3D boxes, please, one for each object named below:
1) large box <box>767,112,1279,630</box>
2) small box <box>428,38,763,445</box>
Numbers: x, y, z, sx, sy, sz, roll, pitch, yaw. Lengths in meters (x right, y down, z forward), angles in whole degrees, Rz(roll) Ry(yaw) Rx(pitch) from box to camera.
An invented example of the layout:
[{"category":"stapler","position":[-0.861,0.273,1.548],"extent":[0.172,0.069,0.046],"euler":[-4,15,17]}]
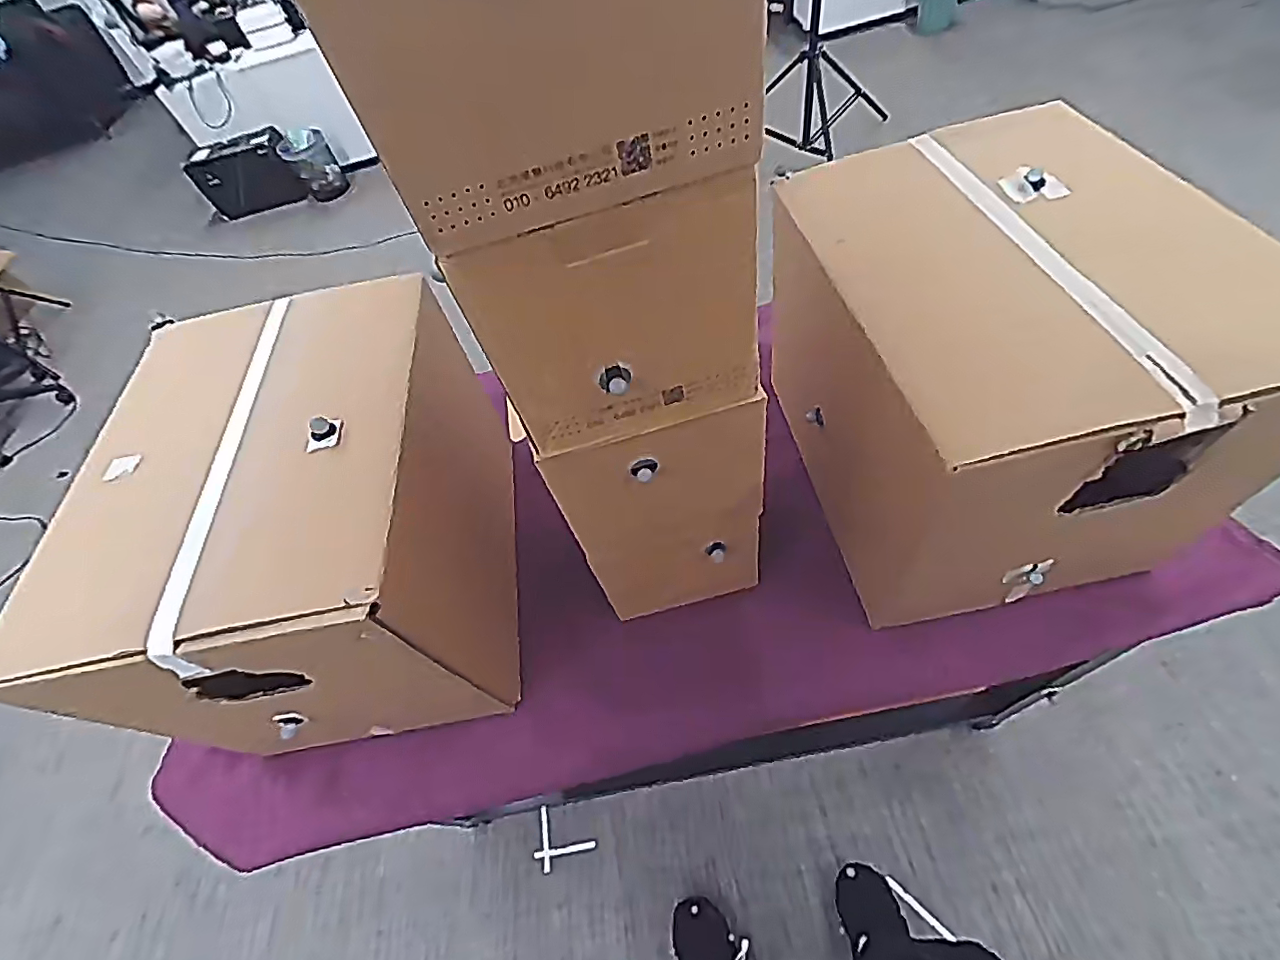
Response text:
[{"category":"large box","position":[0.346,-0.110,0.577],"extent":[0.320,0.320,0.408],"euler":[-13,53,3]},{"category":"small box","position":[-0.026,-0.154,0.368],"extent":[0.168,0.176,0.179],"euler":[-17,55,0]}]
